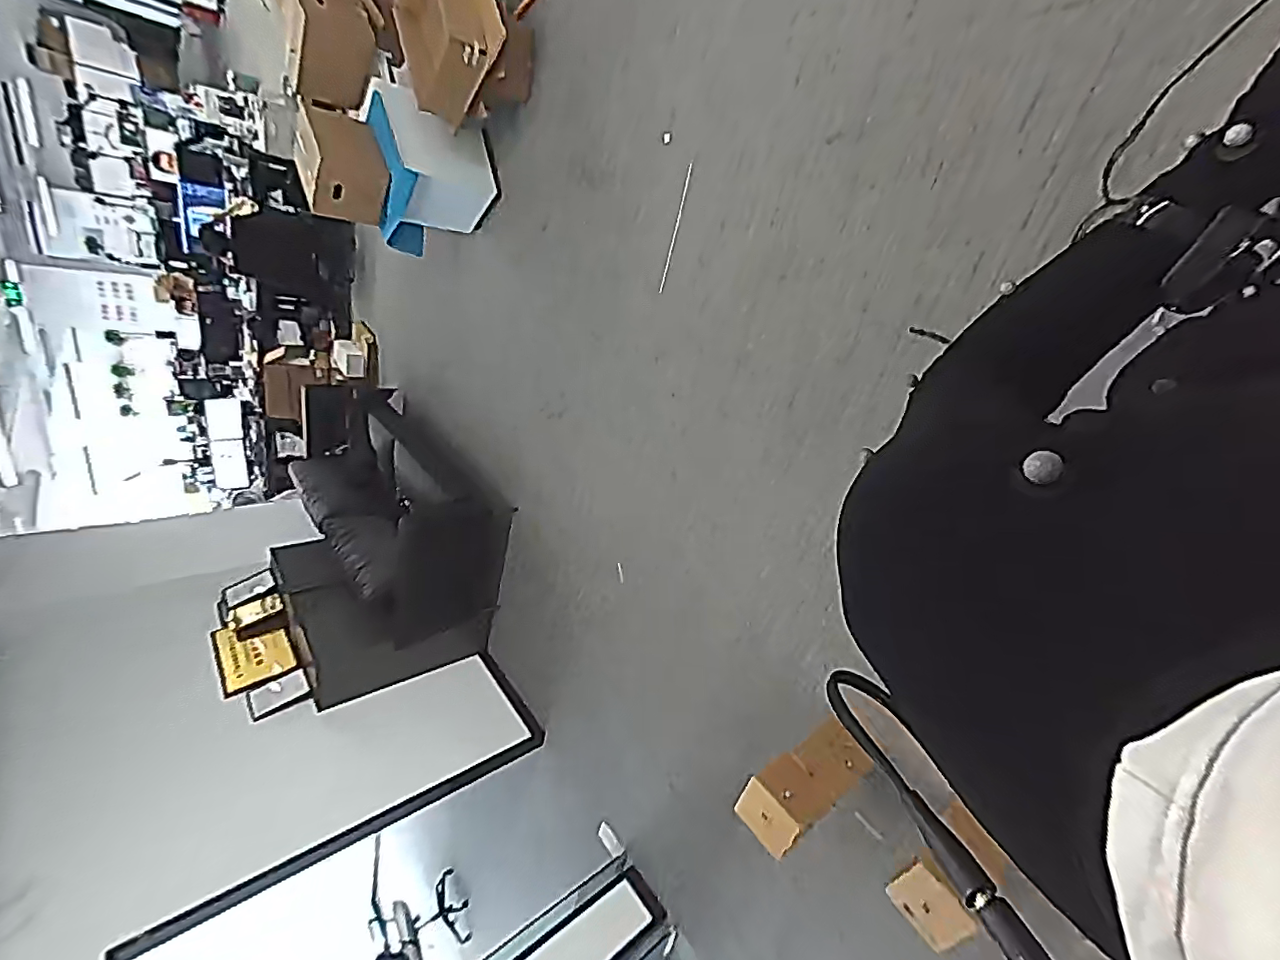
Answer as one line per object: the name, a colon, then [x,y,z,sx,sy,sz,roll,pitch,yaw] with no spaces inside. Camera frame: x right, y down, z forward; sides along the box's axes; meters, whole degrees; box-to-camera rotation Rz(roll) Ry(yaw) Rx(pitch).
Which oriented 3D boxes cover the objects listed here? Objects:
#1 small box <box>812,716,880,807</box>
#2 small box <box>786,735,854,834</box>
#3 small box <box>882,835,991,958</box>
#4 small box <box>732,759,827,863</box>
small box: [0.652,0.918,1.779,0.179,0.176,0.168,39,123,38]
small box: [0.531,0.930,1.670,0.168,0.176,0.179,40,125,37]
small box: [0.782,1.080,1.416,0.168,0.176,0.179,46,127,34]
small box: [0.404,0.944,1.568,0.179,0.176,0.168,39,123,37]
